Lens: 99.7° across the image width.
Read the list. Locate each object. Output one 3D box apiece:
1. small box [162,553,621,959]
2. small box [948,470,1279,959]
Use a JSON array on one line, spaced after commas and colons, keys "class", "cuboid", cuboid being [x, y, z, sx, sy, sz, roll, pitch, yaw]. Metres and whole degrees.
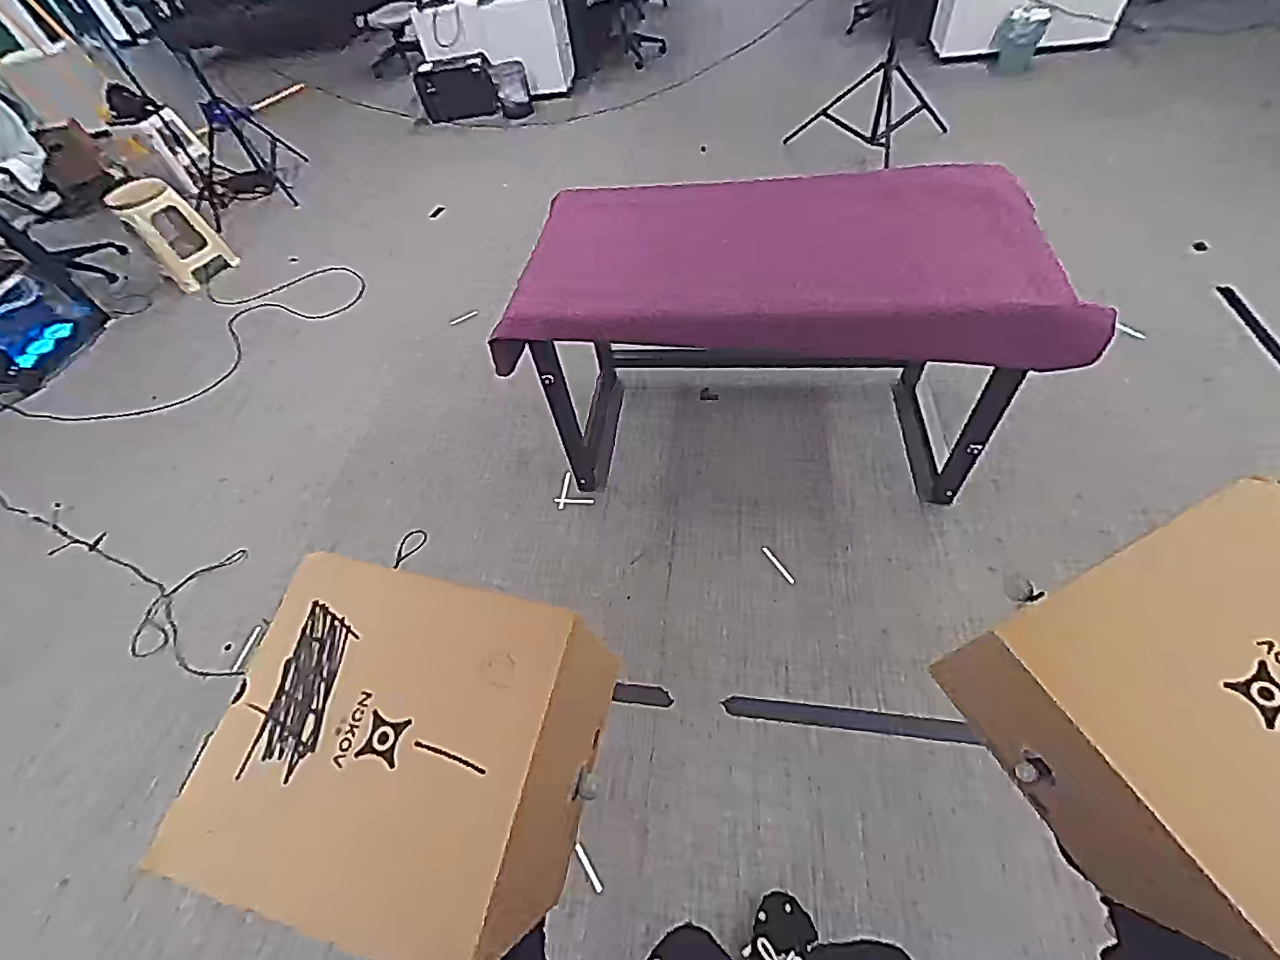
[{"class": "small box", "cuboid": [-0.123, 0.165, 0.349, 0.179, 0.176, 0.168, 10, 65, 11]}, {"class": "small box", "cuboid": [0.321, 0.131, 0.327, 0.179, 0.176, 0.168, -31, 61, -1]}]
